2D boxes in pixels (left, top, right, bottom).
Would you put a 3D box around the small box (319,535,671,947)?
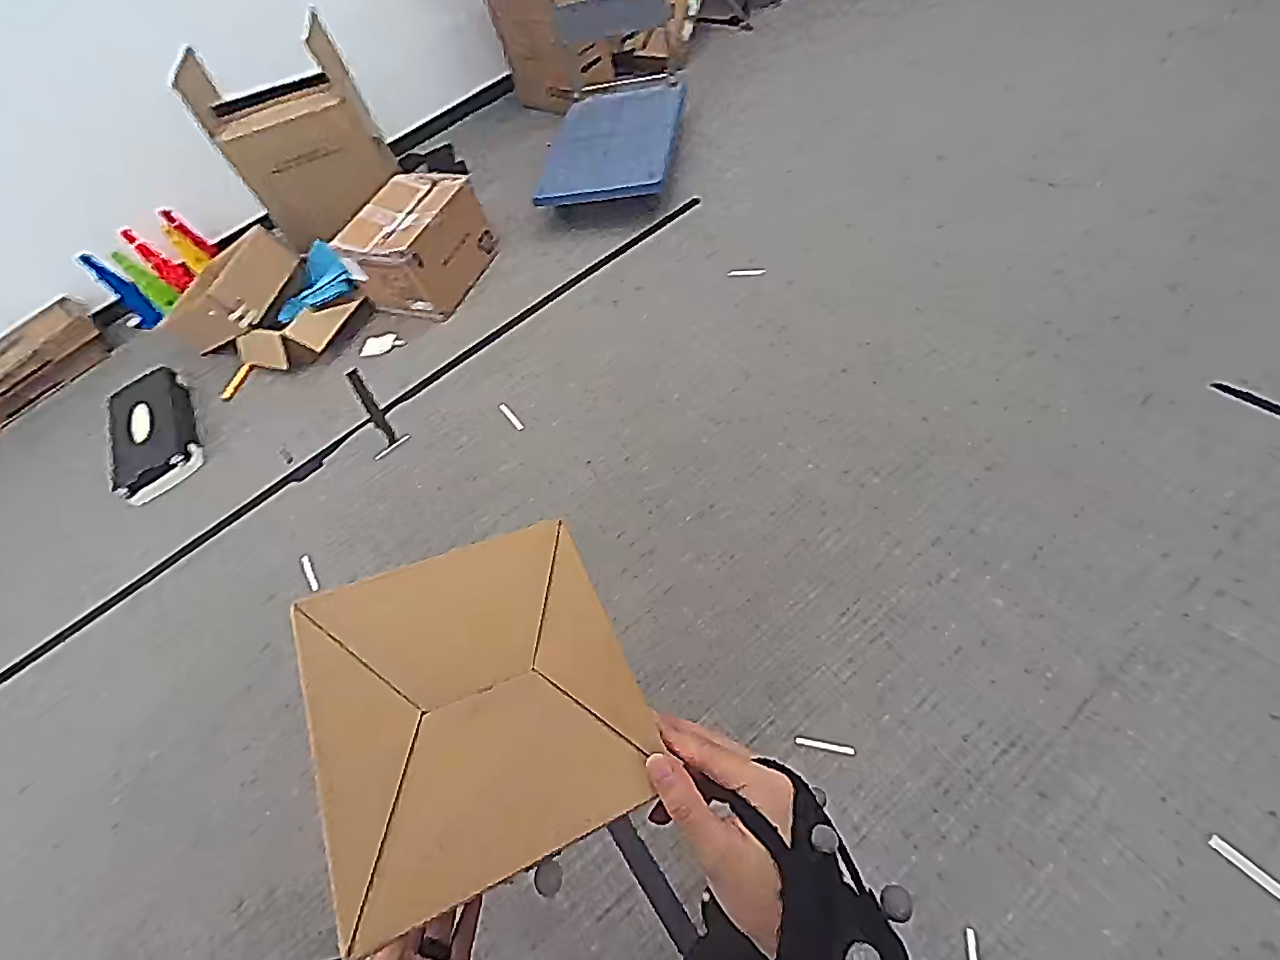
[{"bbox_3d":[-0.095,0.162,0.364,0.168,0.176,0.179,-16,60,-22],"label":"small box"}]
